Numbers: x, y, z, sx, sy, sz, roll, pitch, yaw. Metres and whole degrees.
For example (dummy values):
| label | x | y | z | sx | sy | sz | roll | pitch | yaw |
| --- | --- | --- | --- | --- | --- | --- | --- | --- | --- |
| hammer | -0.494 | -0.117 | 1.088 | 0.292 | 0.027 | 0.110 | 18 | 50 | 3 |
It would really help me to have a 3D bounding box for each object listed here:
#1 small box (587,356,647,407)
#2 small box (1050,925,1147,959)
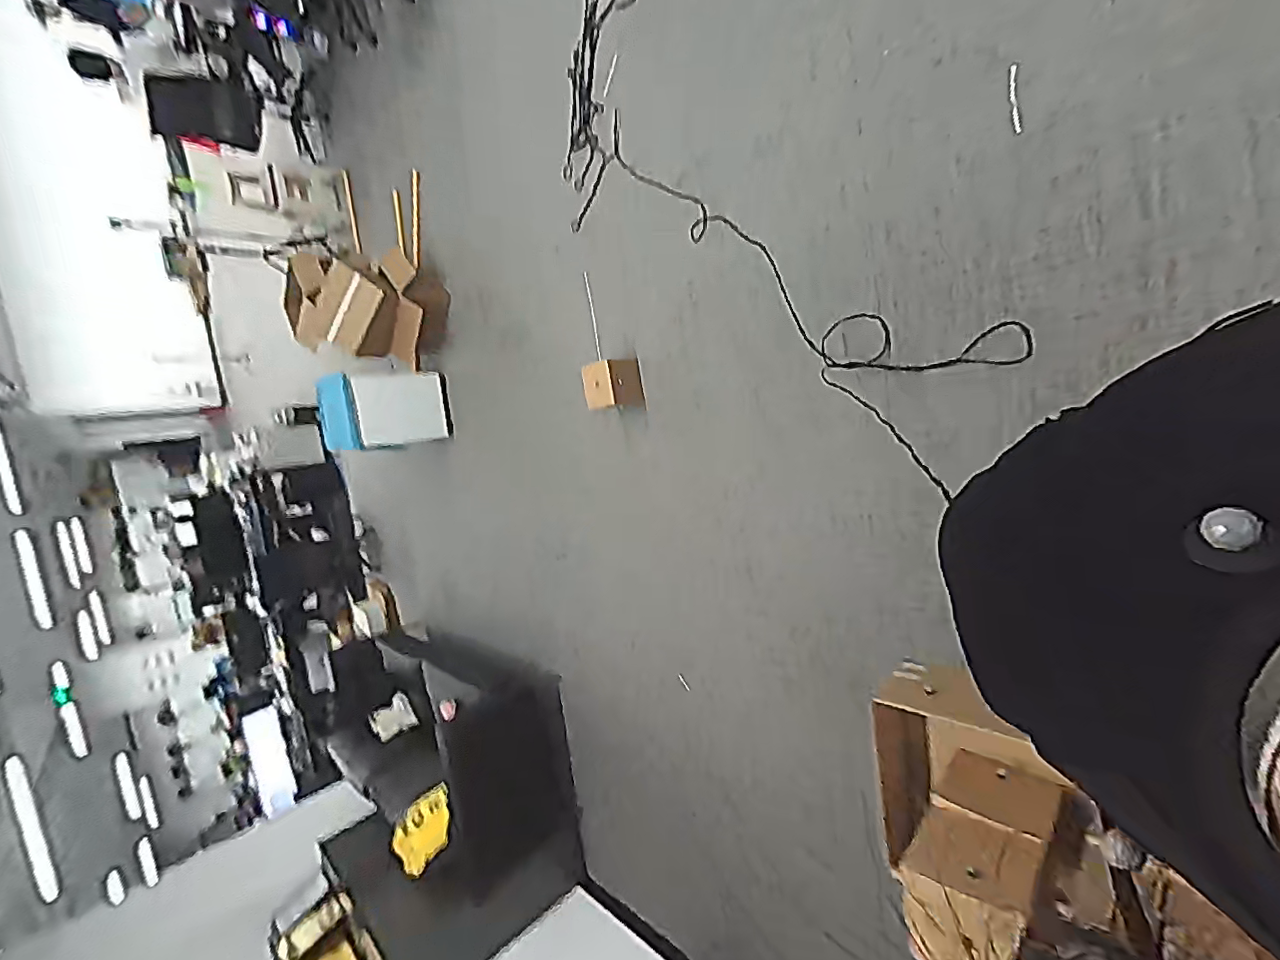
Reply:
| label | x | y | z | sx | sy | sz | roll | pitch | yaw |
| --- | --- | --- | --- | --- | --- | --- | --- | --- | --- |
| small box | -0.087 | -0.396 | 2.173 | 0.168 | 0.176 | 0.179 | -4 | 97 | 47 |
| small box | 0.571 | 0.684 | 0.618 | 0.168 | 0.176 | 0.179 | -2 | 98 | 48 |
